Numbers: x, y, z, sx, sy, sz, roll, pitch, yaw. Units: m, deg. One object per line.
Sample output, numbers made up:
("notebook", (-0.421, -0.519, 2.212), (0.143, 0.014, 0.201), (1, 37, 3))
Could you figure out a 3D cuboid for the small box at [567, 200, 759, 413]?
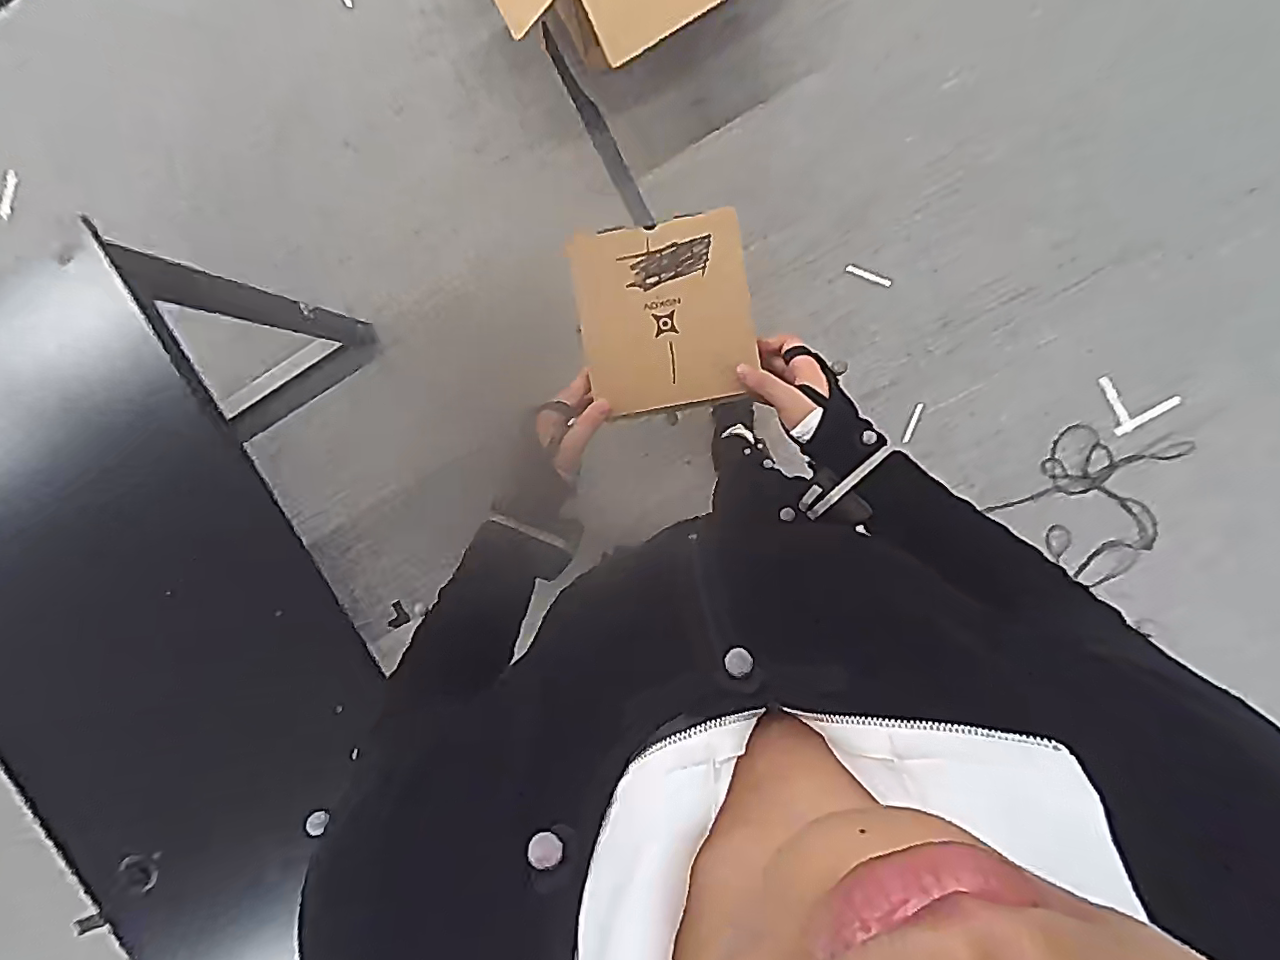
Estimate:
("small box", (0.023, -0.175, 0.599), (0.168, 0.176, 0.179), (-10, 96, 2))
